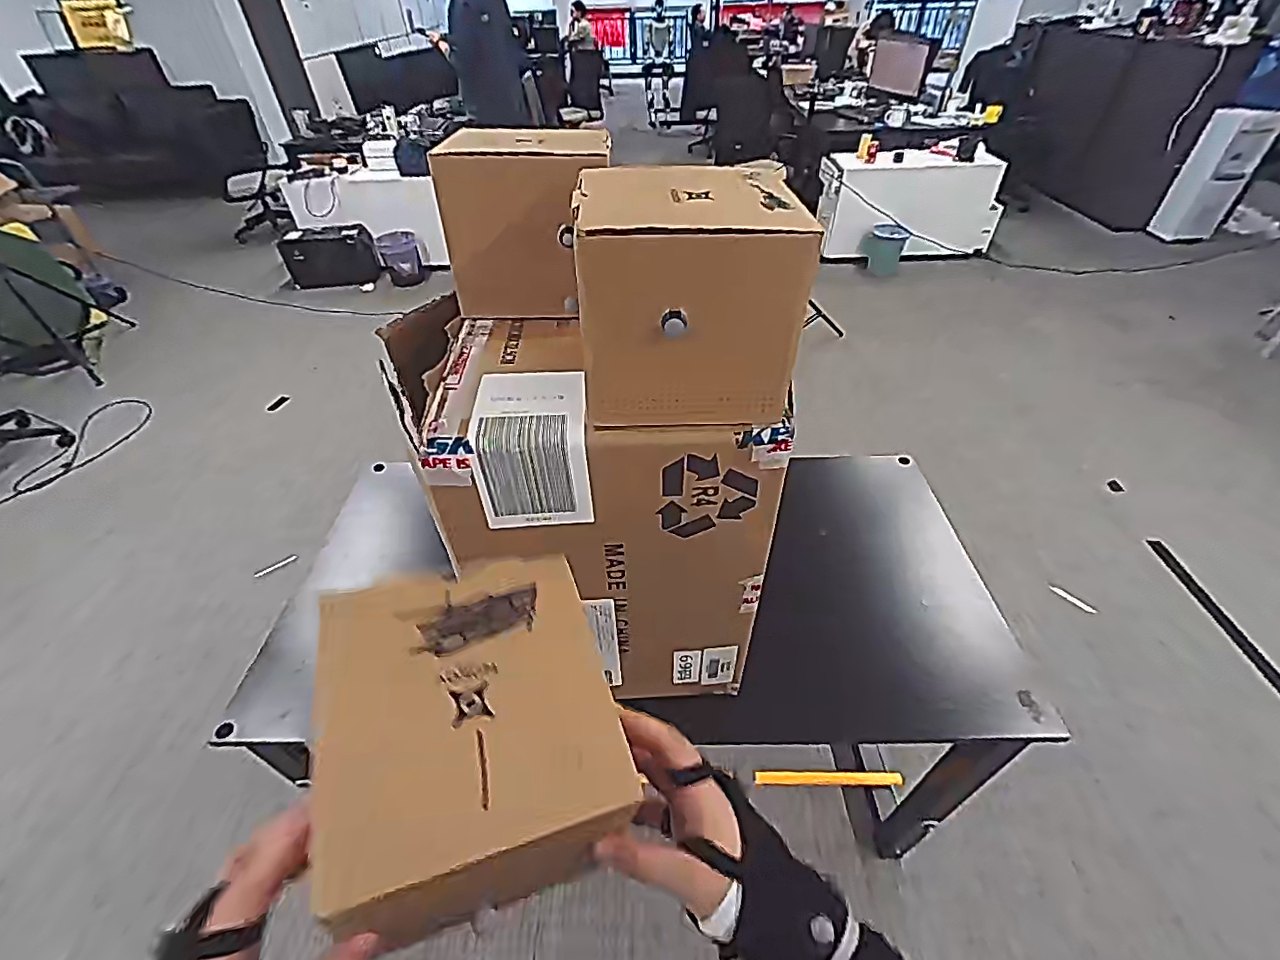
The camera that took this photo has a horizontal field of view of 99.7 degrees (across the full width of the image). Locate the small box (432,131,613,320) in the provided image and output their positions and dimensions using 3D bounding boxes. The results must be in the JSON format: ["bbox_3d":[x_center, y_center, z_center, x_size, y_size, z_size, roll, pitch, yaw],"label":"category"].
[{"bbox_3d":[-0.119,-0.299,0.638,0.179,0.176,0.168,-2,40,-2],"label":"small box"}]

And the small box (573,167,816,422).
[{"bbox_3d":[0.038,-0.165,0.490,0.179,0.176,0.168,-2,45,-2],"label":"small box"}]

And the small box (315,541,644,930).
[{"bbox_3d":[-0.118,0.171,0.379,0.168,0.176,0.179,-7,49,-23],"label":"small box"}]
